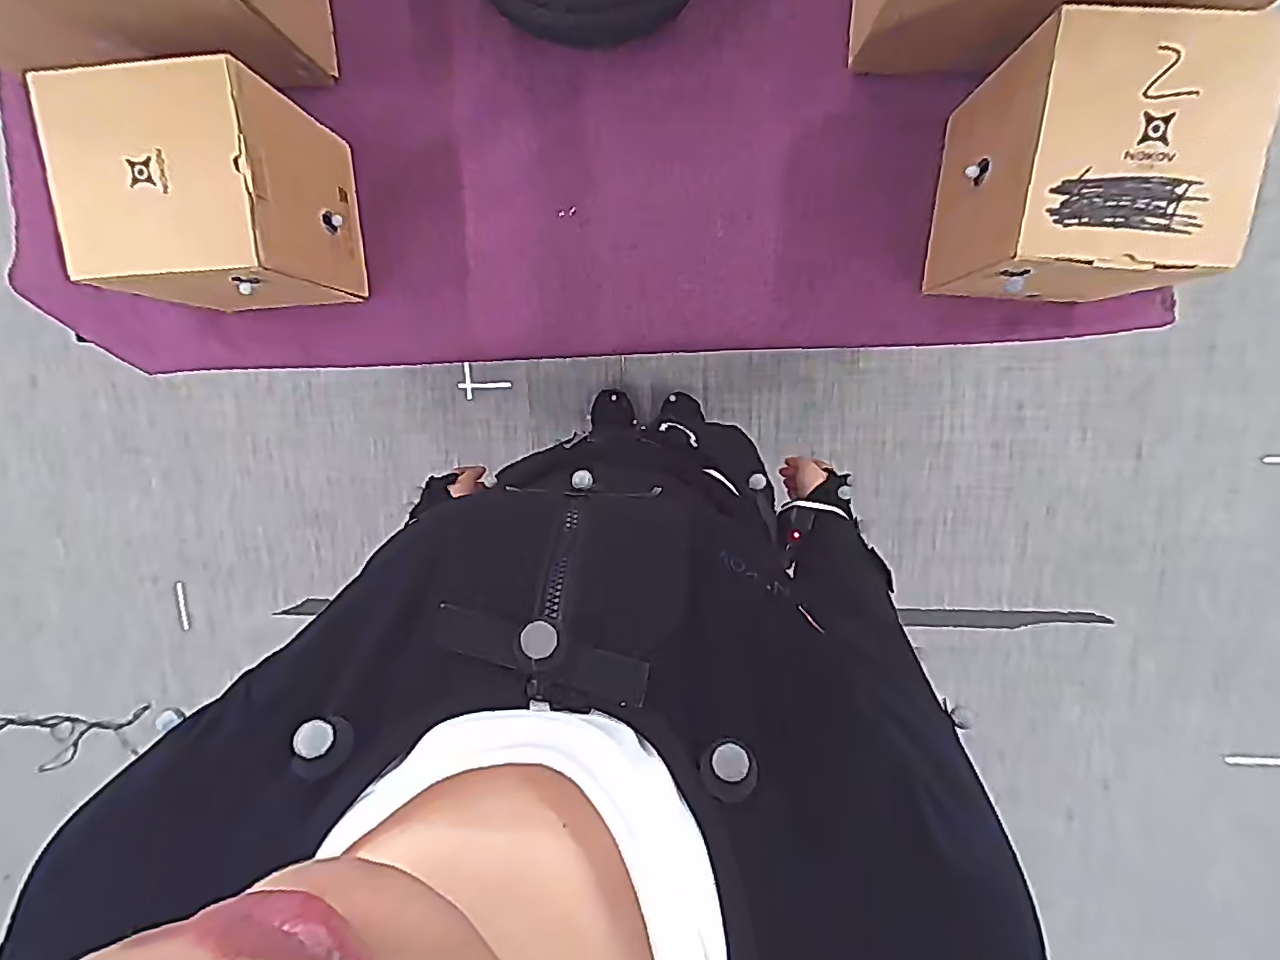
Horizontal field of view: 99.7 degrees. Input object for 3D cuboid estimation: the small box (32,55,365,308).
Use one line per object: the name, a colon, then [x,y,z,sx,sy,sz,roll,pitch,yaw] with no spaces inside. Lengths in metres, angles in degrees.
small box: [-0.407,-0.269,0.530,0.179,0.176,0.168,-4,99,3]

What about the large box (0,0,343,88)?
large box: [-0.481,-0.586,0.405,0.320,0.320,0.408,-2,102,2]
